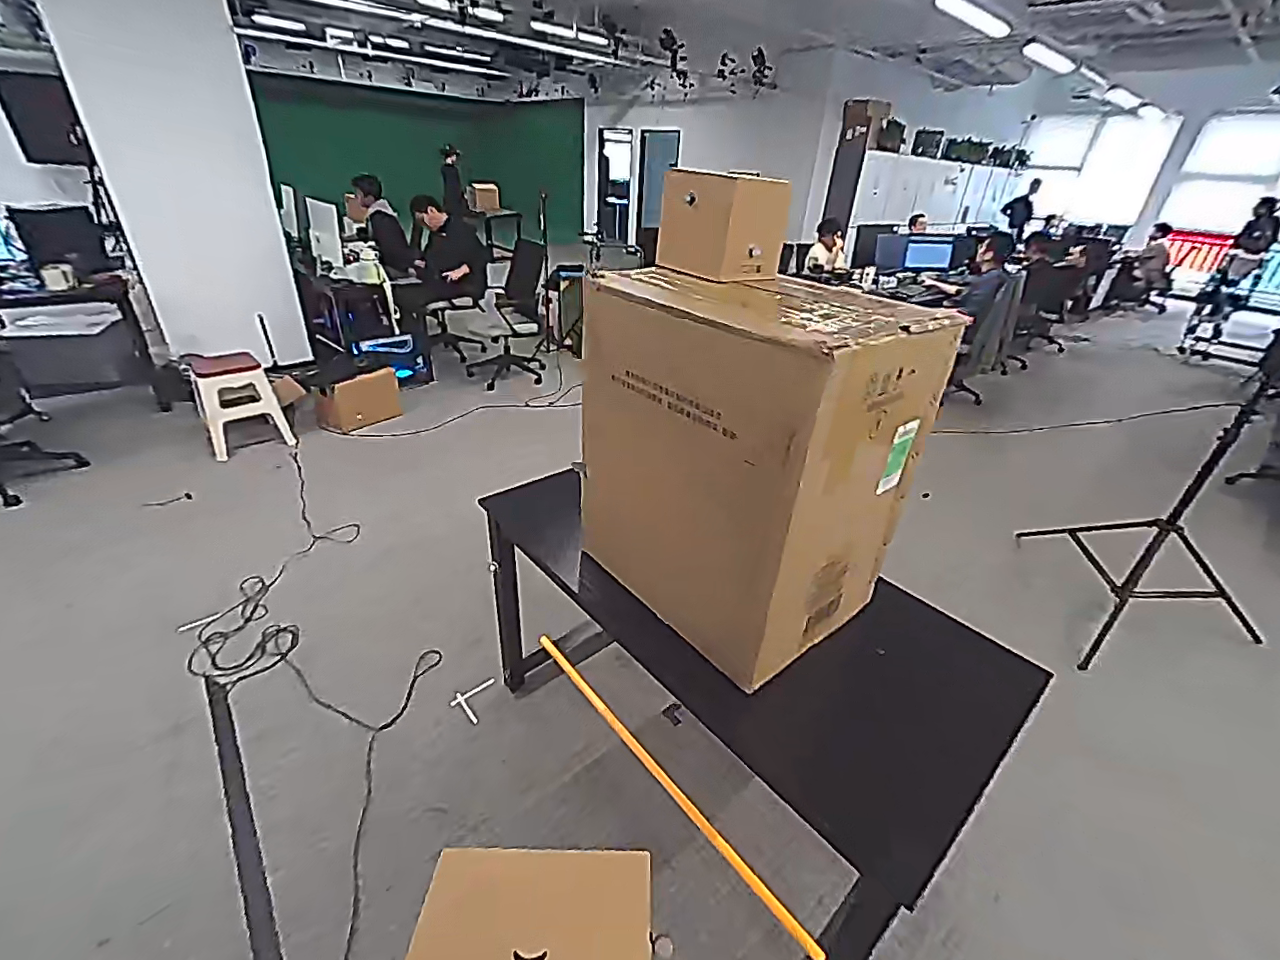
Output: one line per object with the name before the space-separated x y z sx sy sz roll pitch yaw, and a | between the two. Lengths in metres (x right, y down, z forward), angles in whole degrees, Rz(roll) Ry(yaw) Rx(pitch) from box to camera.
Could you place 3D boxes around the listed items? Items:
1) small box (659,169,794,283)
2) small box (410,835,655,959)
small box | 0.153 -0.473 1.012 0.168 0.176 0.179 -19 39 -36
small box | -0.073 0.395 0.389 0.168 0.176 0.179 0 26 1
